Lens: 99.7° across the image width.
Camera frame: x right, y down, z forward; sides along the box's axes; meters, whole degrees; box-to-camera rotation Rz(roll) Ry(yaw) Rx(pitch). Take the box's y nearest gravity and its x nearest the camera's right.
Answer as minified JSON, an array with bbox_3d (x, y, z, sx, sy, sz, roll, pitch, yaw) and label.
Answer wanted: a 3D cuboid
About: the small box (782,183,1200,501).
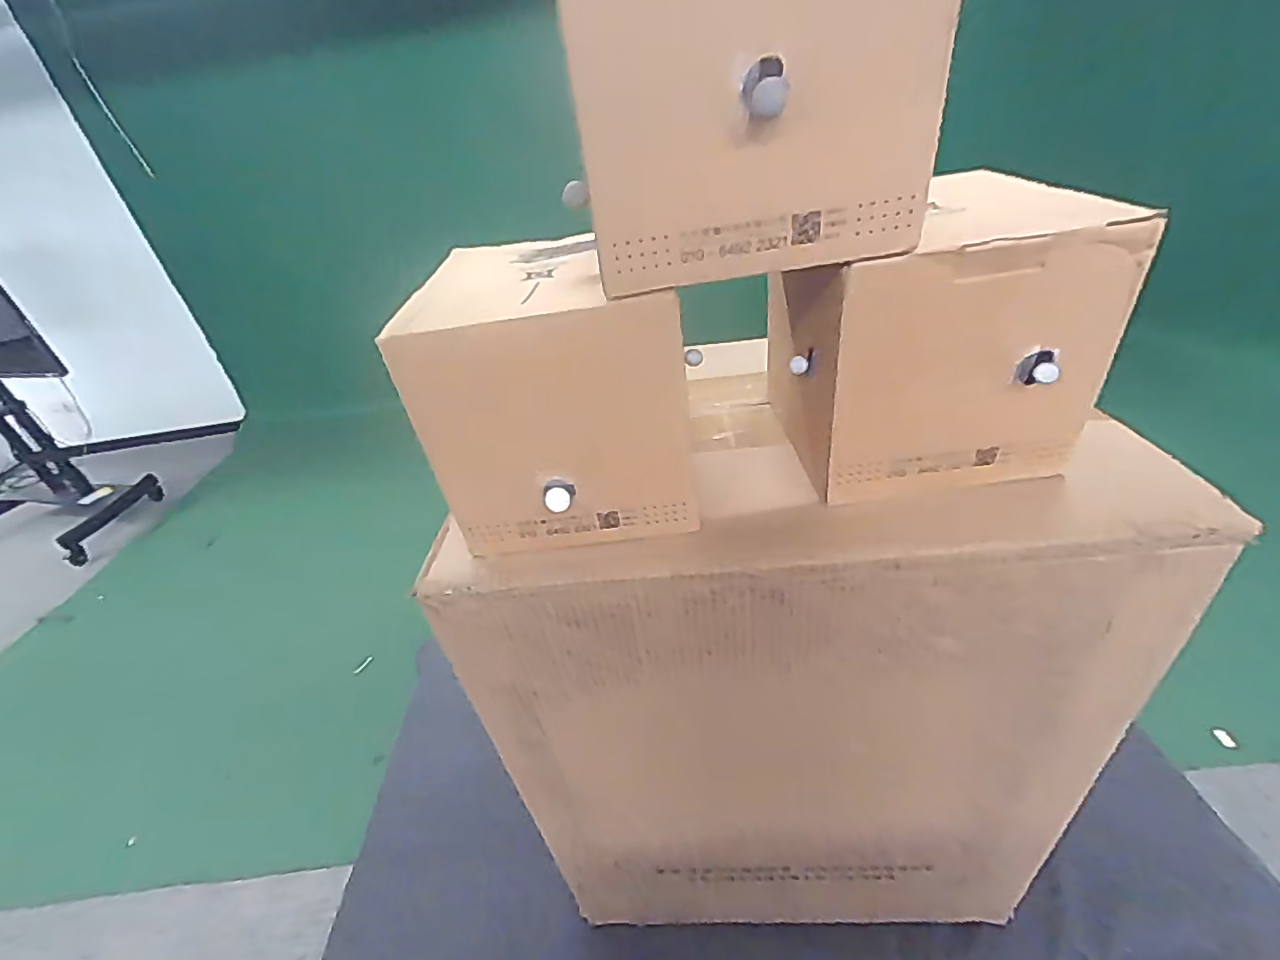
[{"bbox_3d":[0.207,-0.097,0.388,0.168,0.176,0.179,-6,36,0],"label":"small box"}]

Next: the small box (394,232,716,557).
[{"bbox_3d":[-0.036,-0.067,0.387,0.168,0.176,0.179,-5,37,7],"label":"small box"}]
